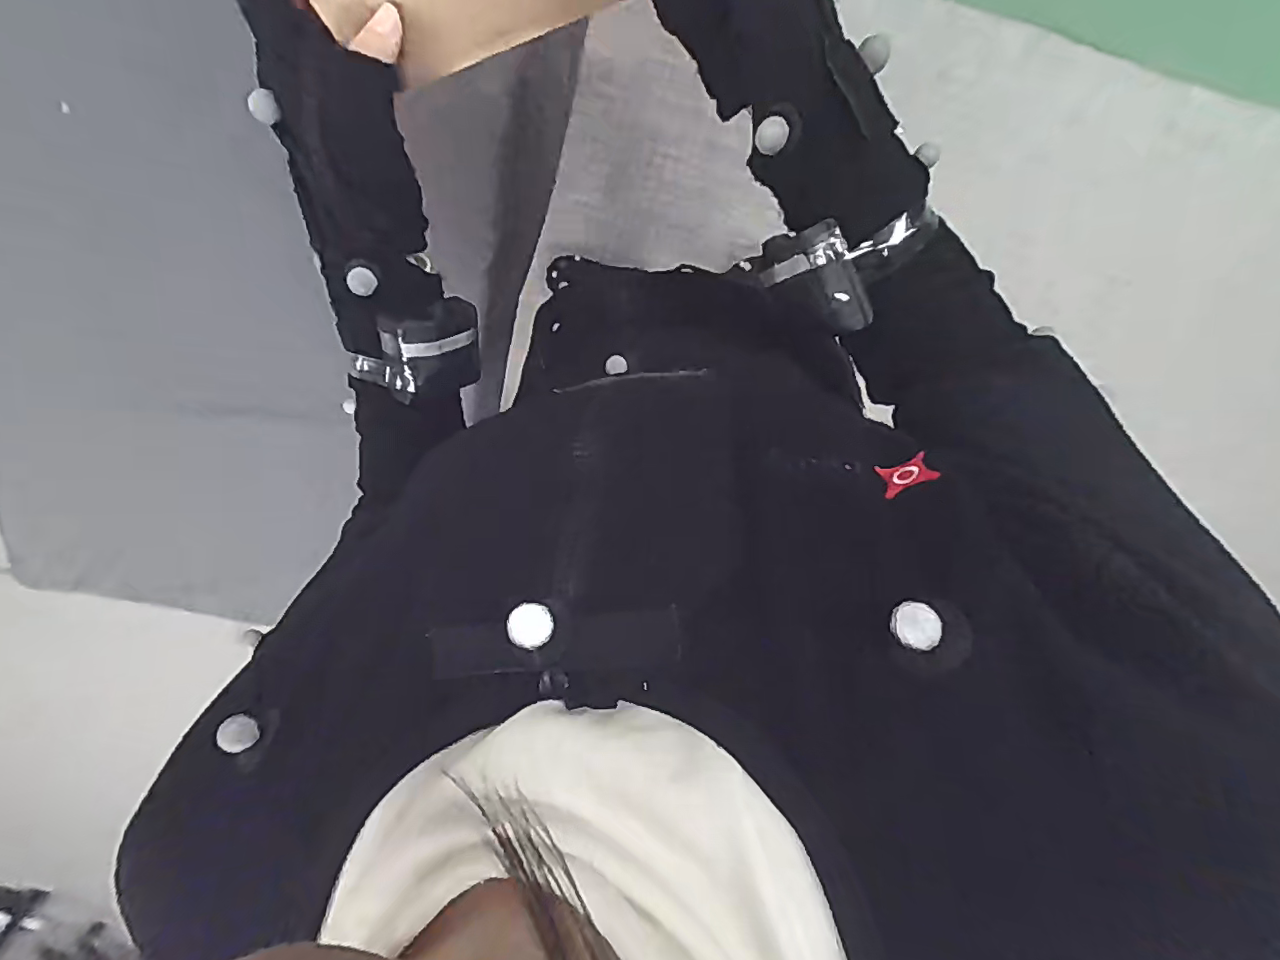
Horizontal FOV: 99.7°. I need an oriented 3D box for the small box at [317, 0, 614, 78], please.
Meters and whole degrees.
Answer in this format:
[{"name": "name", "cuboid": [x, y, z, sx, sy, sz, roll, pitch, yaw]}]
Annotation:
[{"name": "small box", "cuboid": [-0.086, -0.331, 0.236, 0.179, 0.176, 0.168, -11, 151, 8]}]
